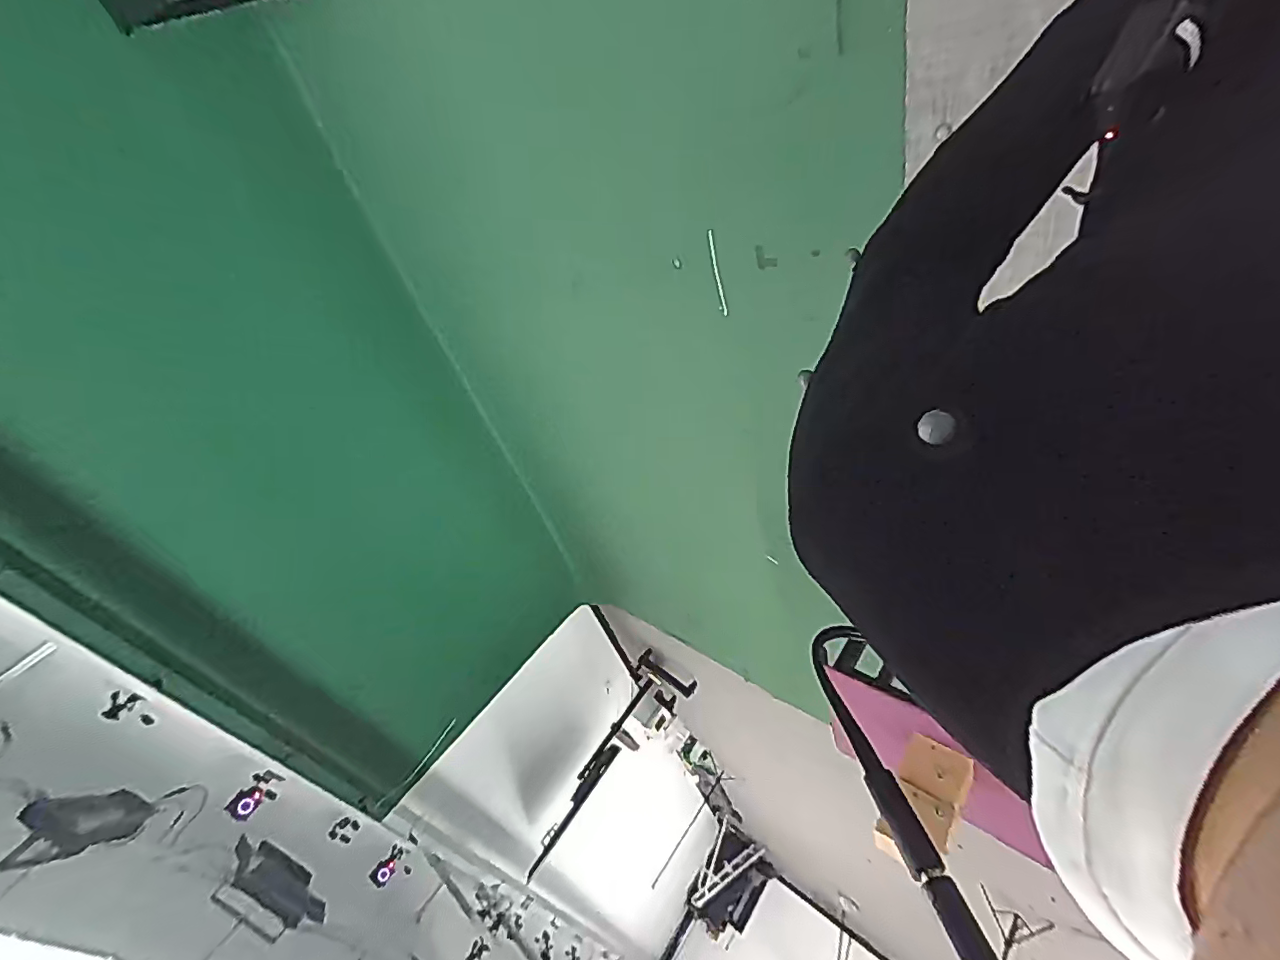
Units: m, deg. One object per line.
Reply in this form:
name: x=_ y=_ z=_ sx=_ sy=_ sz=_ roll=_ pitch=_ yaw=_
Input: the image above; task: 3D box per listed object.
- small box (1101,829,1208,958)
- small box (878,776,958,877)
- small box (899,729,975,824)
small box: x=1.278 y=1.022 z=1.346 sx=0.168 sy=0.176 sz=0.179 roll=12 pitch=139 yaw=44
small box: x=0.815 y=1.010 z=1.588 sx=0.168 sy=0.176 sz=0.179 roll=18 pitch=145 yaw=39
small box: x=0.918 y=0.909 z=1.670 sx=0.168 sy=0.176 sz=0.179 roll=15 pitch=142 yaw=42
